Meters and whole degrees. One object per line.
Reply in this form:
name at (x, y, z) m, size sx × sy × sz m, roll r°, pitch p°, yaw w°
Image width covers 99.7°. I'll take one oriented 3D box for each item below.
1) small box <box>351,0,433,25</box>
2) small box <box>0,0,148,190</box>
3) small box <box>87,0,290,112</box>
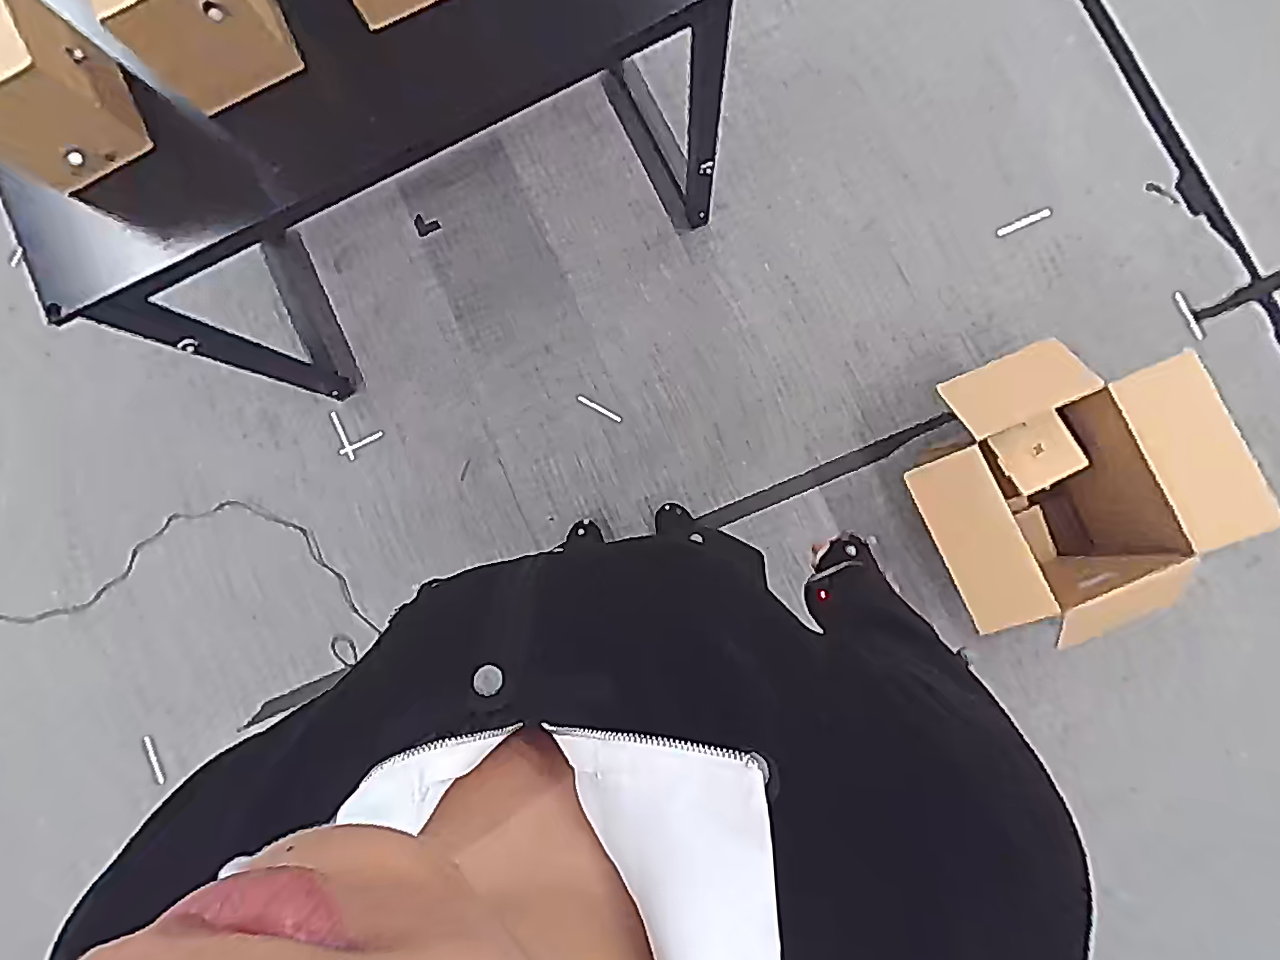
small box at (-0.379, -0.810, 0.765) m, size 0.179 × 0.176 × 0.168 m, roll -23°, pitch 86°, yaw 3°
small box at (-0.885, -0.569, 0.782) m, size 0.168 × 0.176 × 0.179 m, roll -27°, pitch 87°, yaw 2°
small box at (-0.644, -0.684, 0.773) m, size 0.179 × 0.176 × 0.168 m, roll -26°, pitch 85°, yaw 1°
